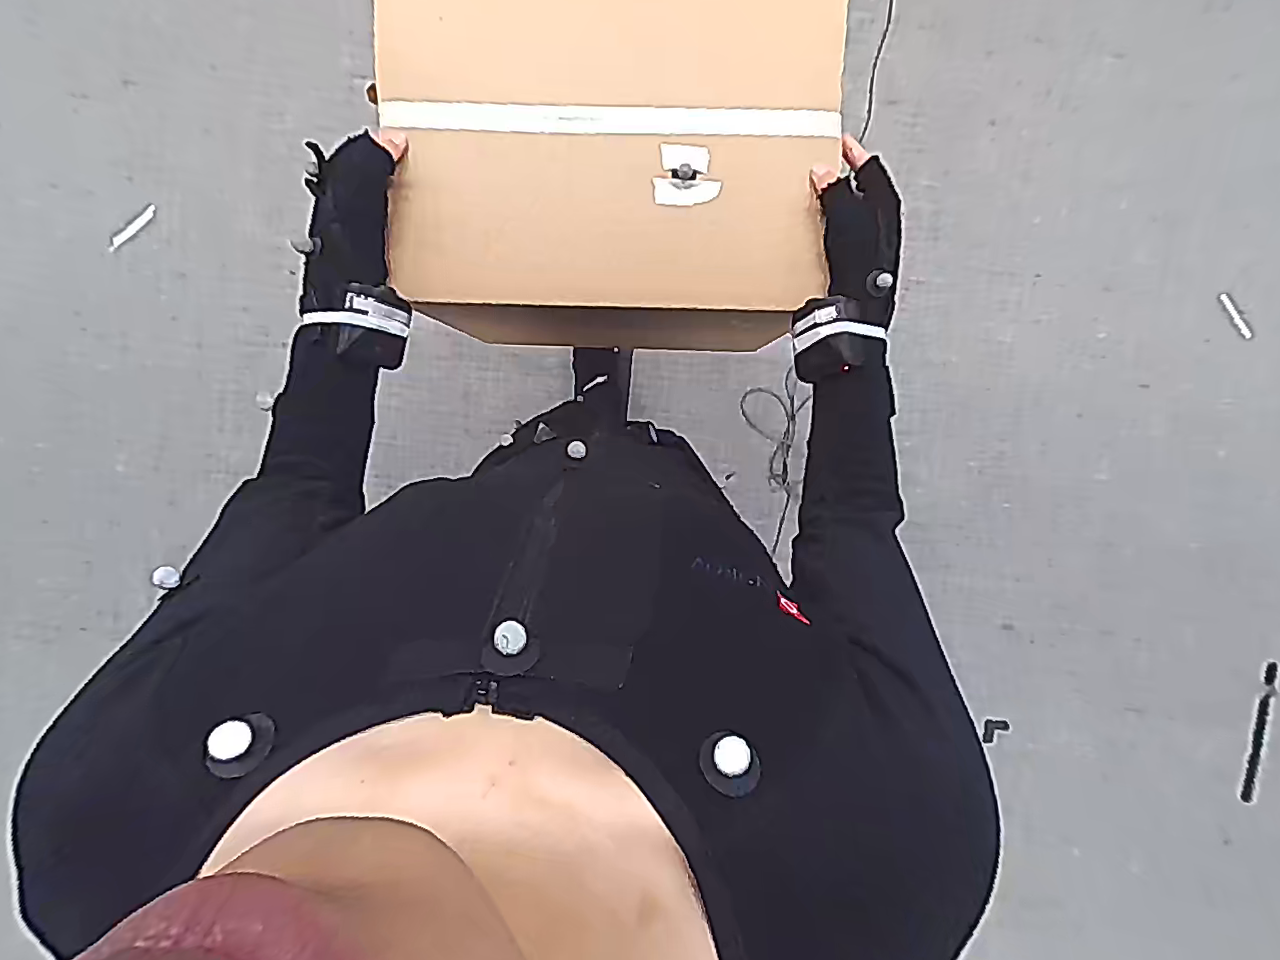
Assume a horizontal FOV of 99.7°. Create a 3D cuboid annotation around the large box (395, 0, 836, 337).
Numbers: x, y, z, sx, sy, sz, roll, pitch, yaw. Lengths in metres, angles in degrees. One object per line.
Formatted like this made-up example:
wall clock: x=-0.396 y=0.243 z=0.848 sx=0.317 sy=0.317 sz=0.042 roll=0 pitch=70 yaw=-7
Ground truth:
large box: x=-0.026 y=-0.349 z=0.642 sx=0.408 sy=0.320 sz=0.320 roll=1 pitch=98 yaw=-1
